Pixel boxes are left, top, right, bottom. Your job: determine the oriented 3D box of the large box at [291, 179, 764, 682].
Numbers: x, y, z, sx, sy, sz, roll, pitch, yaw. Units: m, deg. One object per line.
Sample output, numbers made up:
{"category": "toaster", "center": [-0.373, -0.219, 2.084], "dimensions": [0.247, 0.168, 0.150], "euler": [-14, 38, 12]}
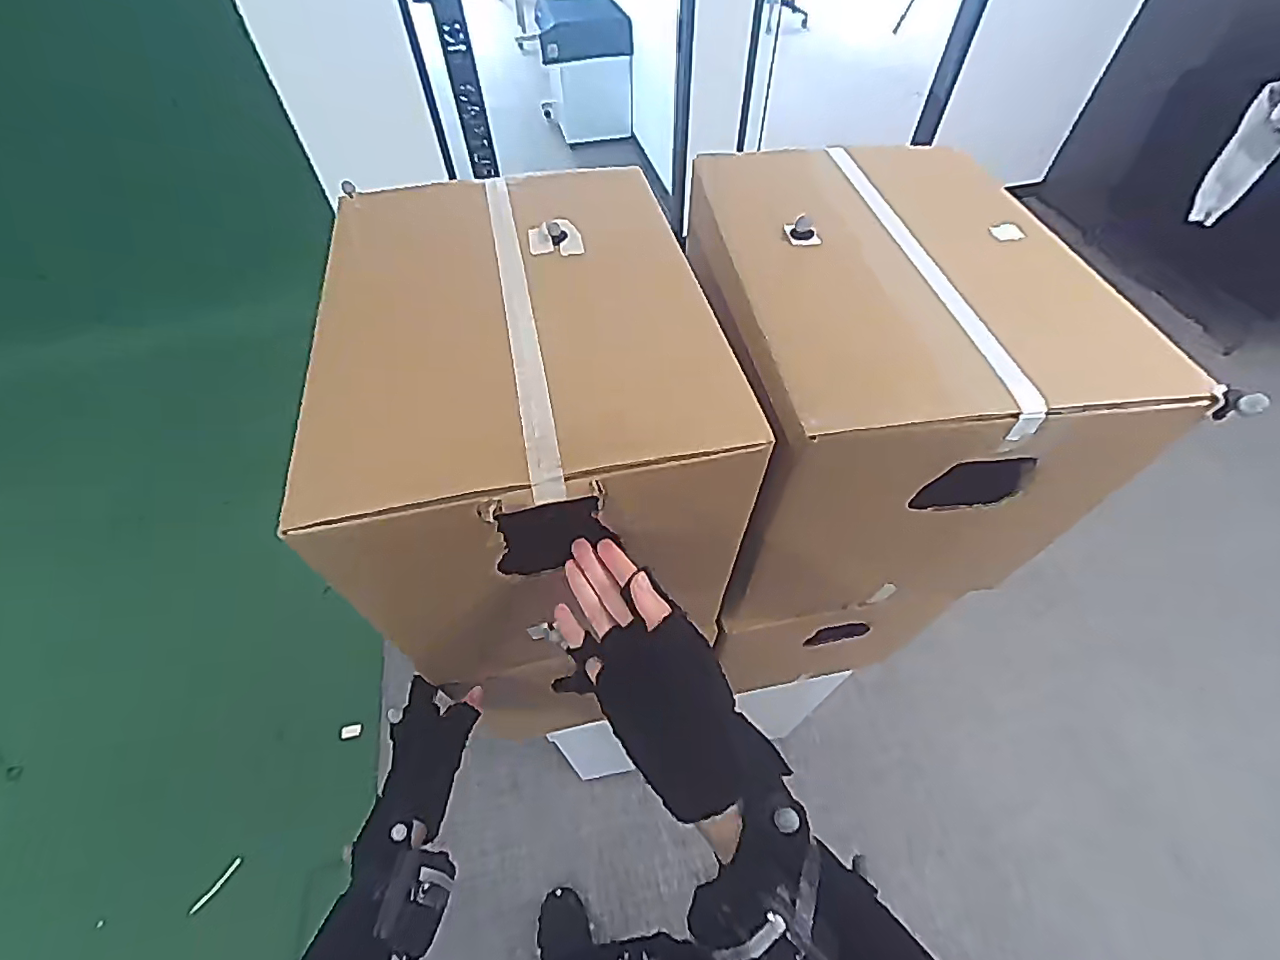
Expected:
{"category": "large box", "center": [-0.106, -0.060, 0.575], "dimensions": [0.320, 0.320, 0.408], "euler": [-10, 53, -8]}
